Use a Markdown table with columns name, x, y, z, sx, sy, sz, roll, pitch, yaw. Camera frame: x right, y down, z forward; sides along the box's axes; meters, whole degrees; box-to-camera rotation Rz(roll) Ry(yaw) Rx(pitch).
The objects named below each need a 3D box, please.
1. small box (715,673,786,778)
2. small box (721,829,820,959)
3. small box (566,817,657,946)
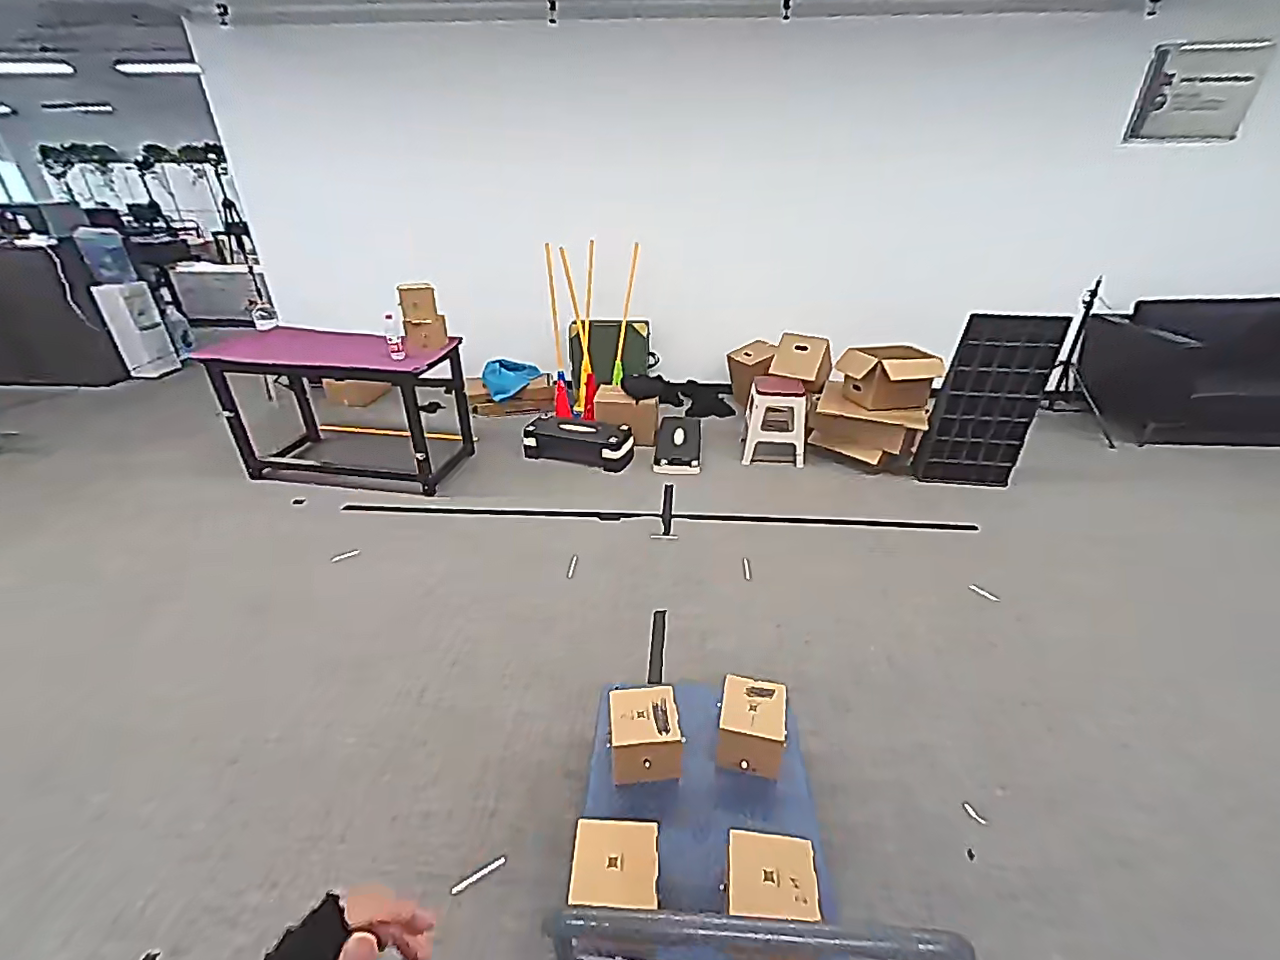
| name | x | y | z | sx | sy | sz | roll | pitch | yaw |
| --- | --- | --- | --- | --- | --- | --- | --- | --- | --- |
| small box | 0.298 | 0.664 | 1.467 | 0.168 | 0.176 | 0.179 | 7 | 32 | 12 |
| small box | 0.262 | 0.864 | 1.120 | 0.179 | 0.176 | 0.168 | 5 | 31 | 7 |
| small box | -0.055 | 0.849 | 1.144 | 0.179 | 0.176 | 0.168 | 3 | 30 | 1 |
